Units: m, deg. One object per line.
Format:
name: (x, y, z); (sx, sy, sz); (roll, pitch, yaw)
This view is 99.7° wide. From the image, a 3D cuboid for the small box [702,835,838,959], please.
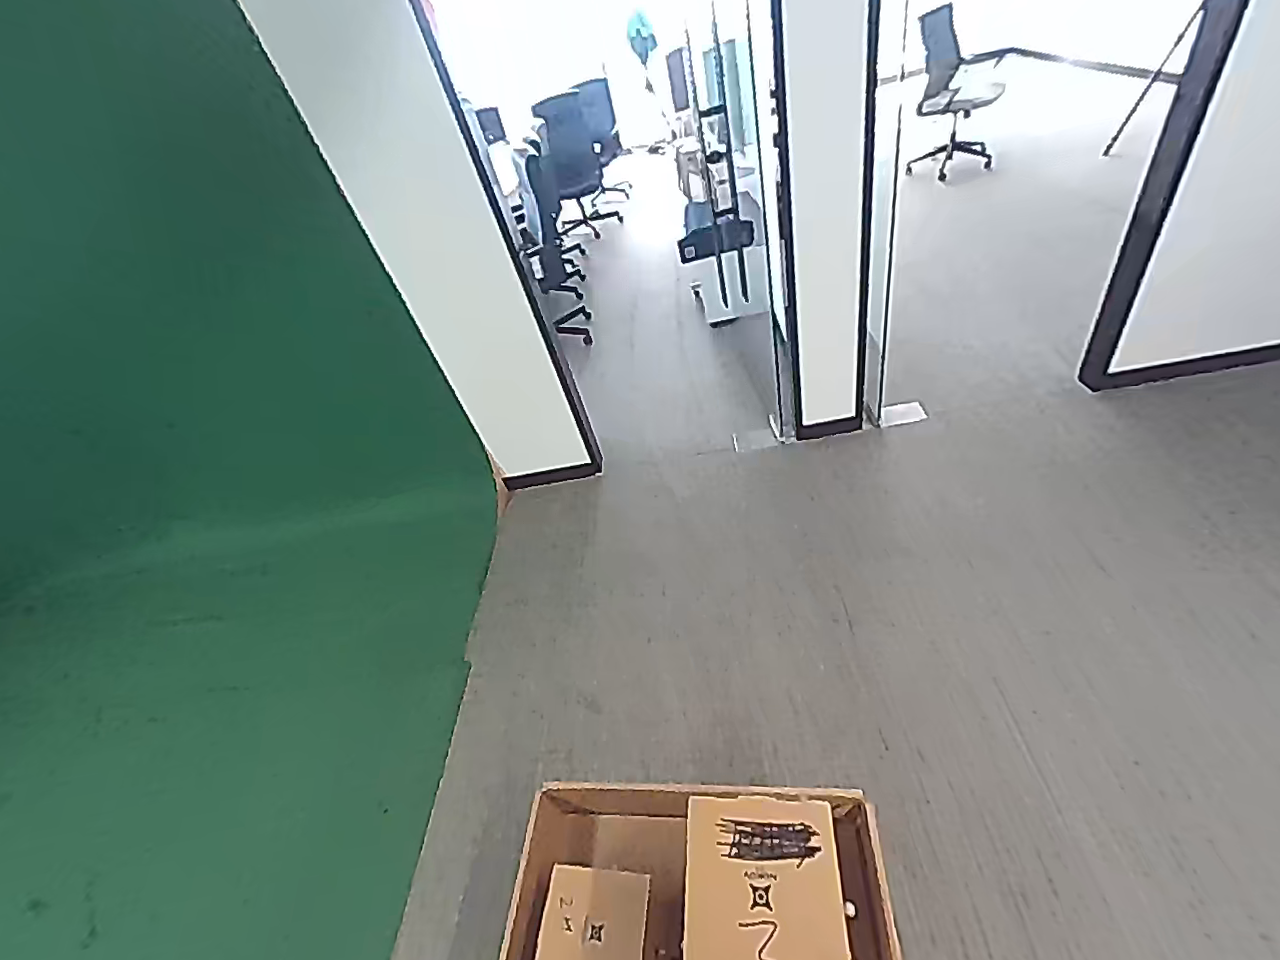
small box: (0.180, 0.613, 0.737); (0.168, 0.176, 0.179); (-5, 42, 13)
